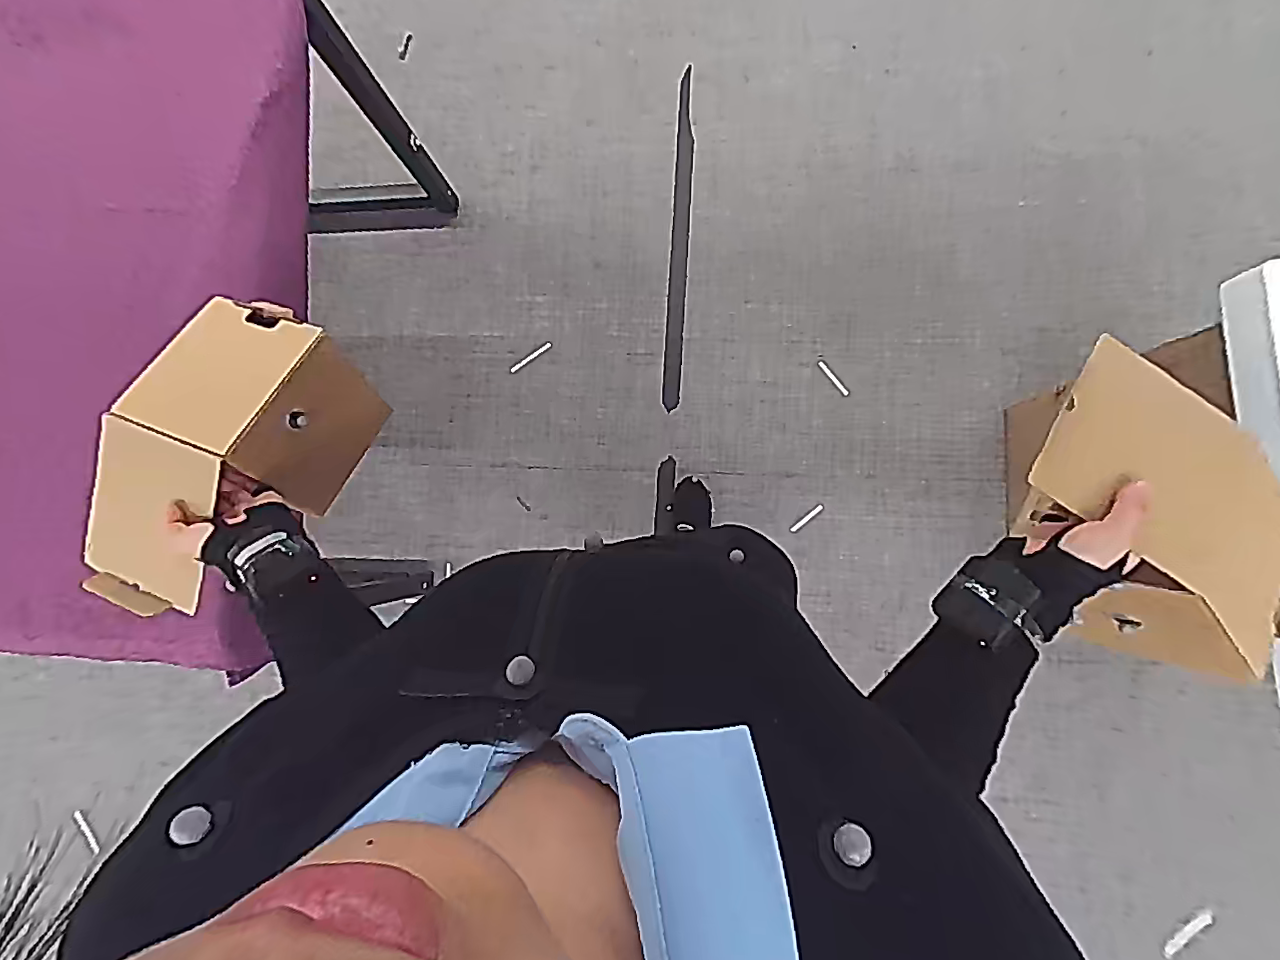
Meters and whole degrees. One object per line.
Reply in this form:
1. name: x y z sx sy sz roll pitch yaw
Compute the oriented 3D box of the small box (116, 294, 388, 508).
1. small box: -0.448 -0.088 0.660 0.168 0.176 0.179 19 67 13
